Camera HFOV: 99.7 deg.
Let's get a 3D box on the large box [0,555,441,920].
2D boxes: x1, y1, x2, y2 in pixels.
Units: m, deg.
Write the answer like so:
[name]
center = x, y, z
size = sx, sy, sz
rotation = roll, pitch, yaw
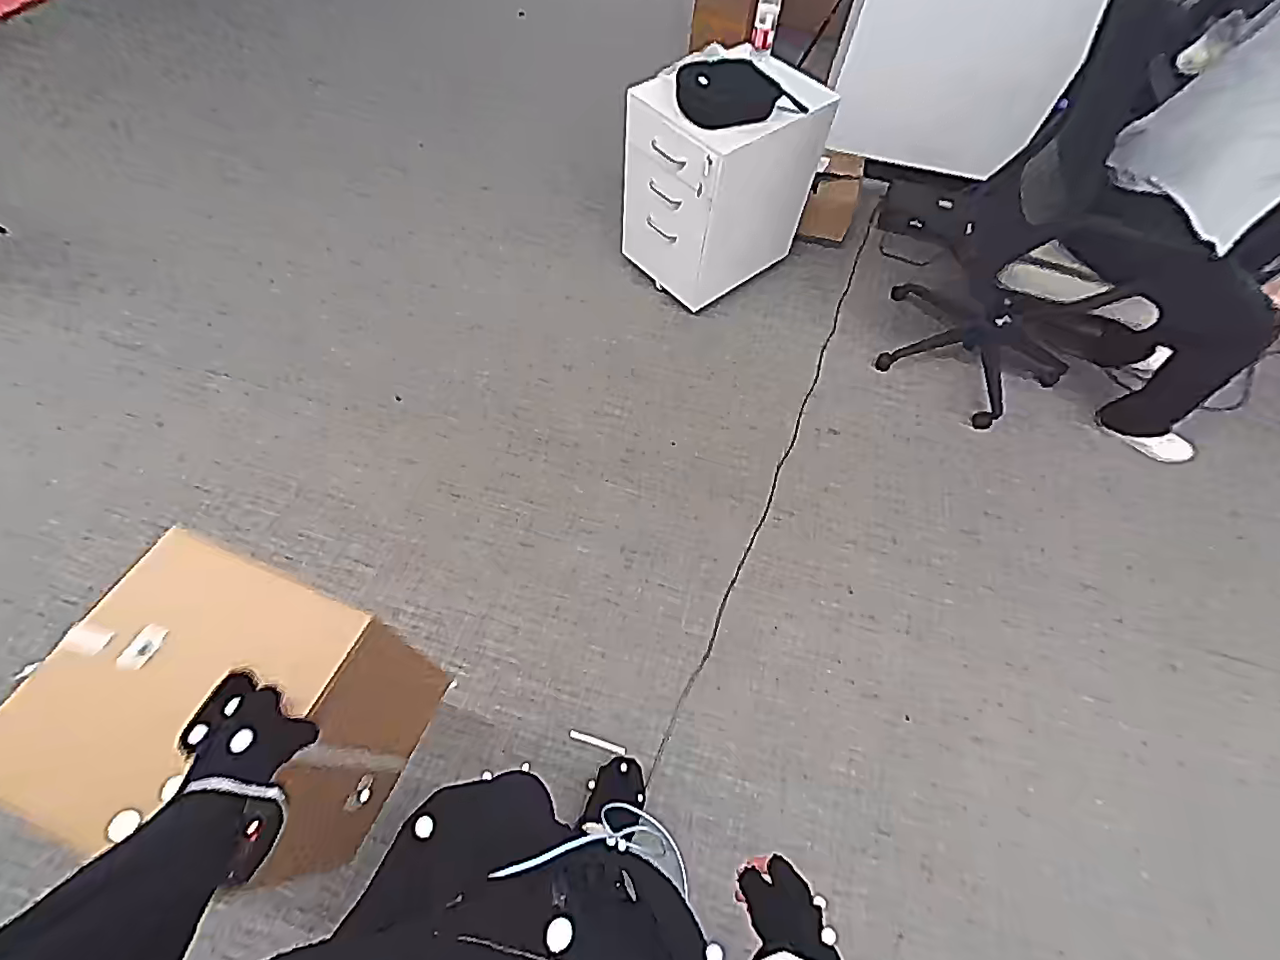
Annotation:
[large box]
center = -0.554, 0.355, 0.787
size = 0.320, 0.408, 0.320
rotation = 20, 61, 7
